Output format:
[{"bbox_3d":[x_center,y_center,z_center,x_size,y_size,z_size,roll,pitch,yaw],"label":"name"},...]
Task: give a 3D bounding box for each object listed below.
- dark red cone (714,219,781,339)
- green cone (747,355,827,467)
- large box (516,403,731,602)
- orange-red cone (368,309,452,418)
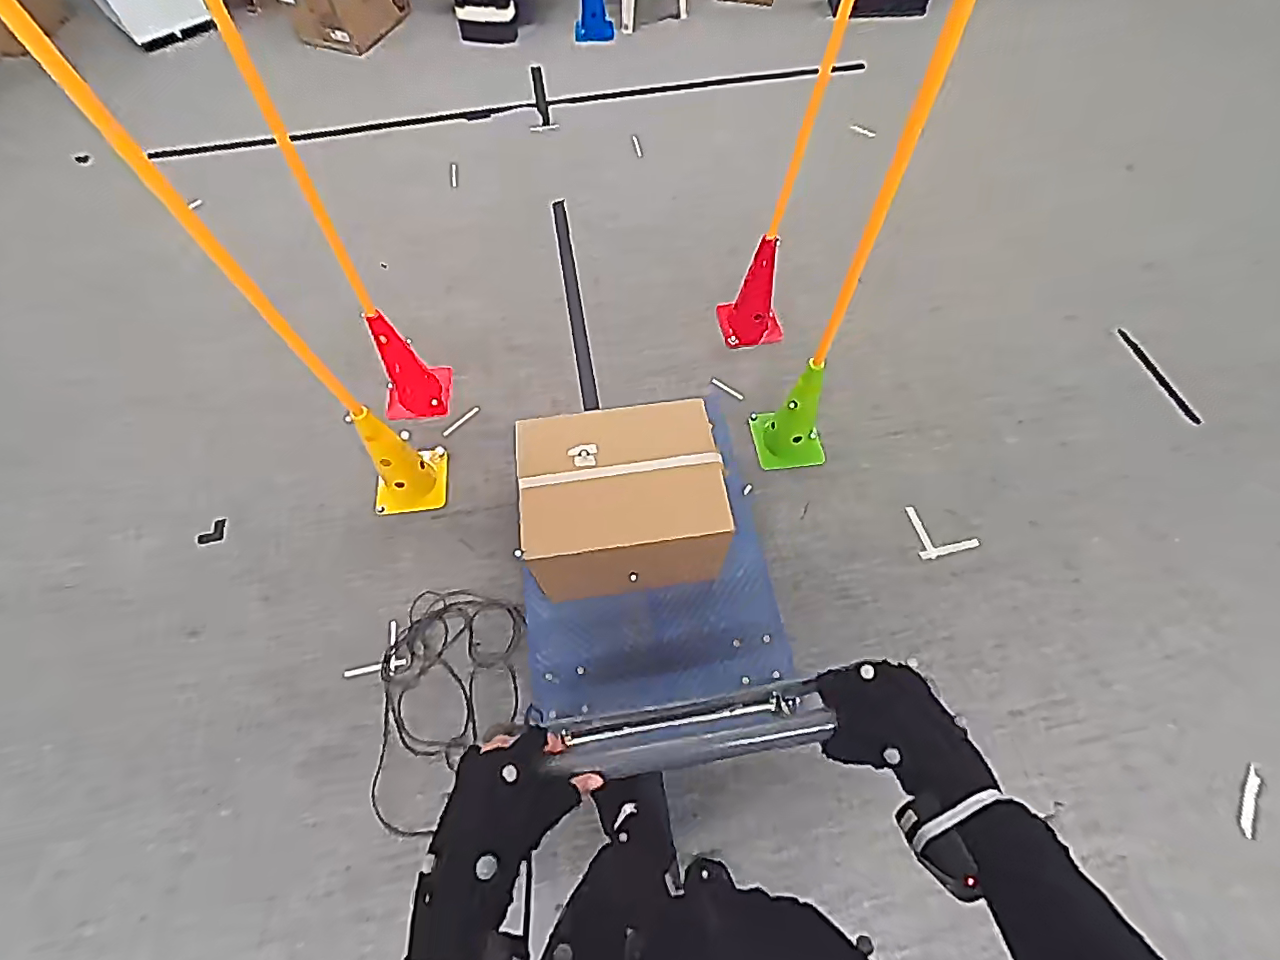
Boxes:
[{"bbox_3d":[0.375,-0.644,1.725,0.201,0.394,0.202,-9,63,-6],"label":"dark red cone"},{"bbox_3d":[0.445,-0.212,1.516,0.202,0.368,0.200,-6,62,-4],"label":"green cone"},{"bbox_3d":[-0.039,0.062,1.216,0.408,0.320,0.320,-8,63,-3],"label":"large box"},{"bbox_3d":[-0.719,-0.366,1.615,0.198,0.360,0.199,-3,61,-2],"label":"orange-red cone"}]
